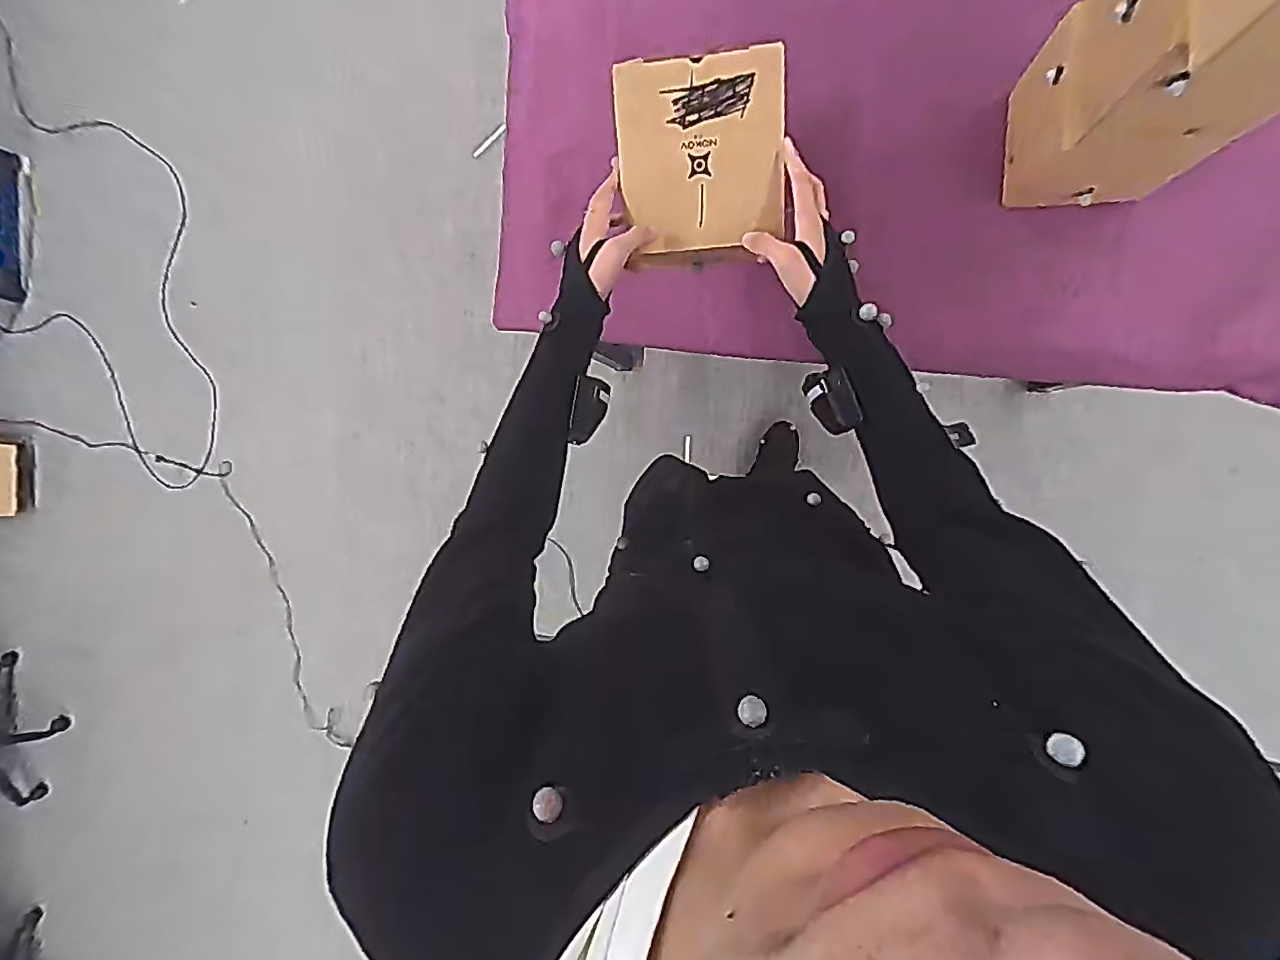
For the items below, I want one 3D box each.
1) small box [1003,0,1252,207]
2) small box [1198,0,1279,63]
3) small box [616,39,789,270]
[{"bbox_3d":[0.596,-0.464,0.681,0.179,0.176,0.168,2,94,12],"label":"small box"},{"bbox_3d":[0.535,-0.424,0.361,0.179,0.176,0.168,-1,93,12],"label":"small box"},{"bbox_3d":[0.068,-0.342,0.604,0.168,0.176,0.179,-2,106,6],"label":"small box"}]
